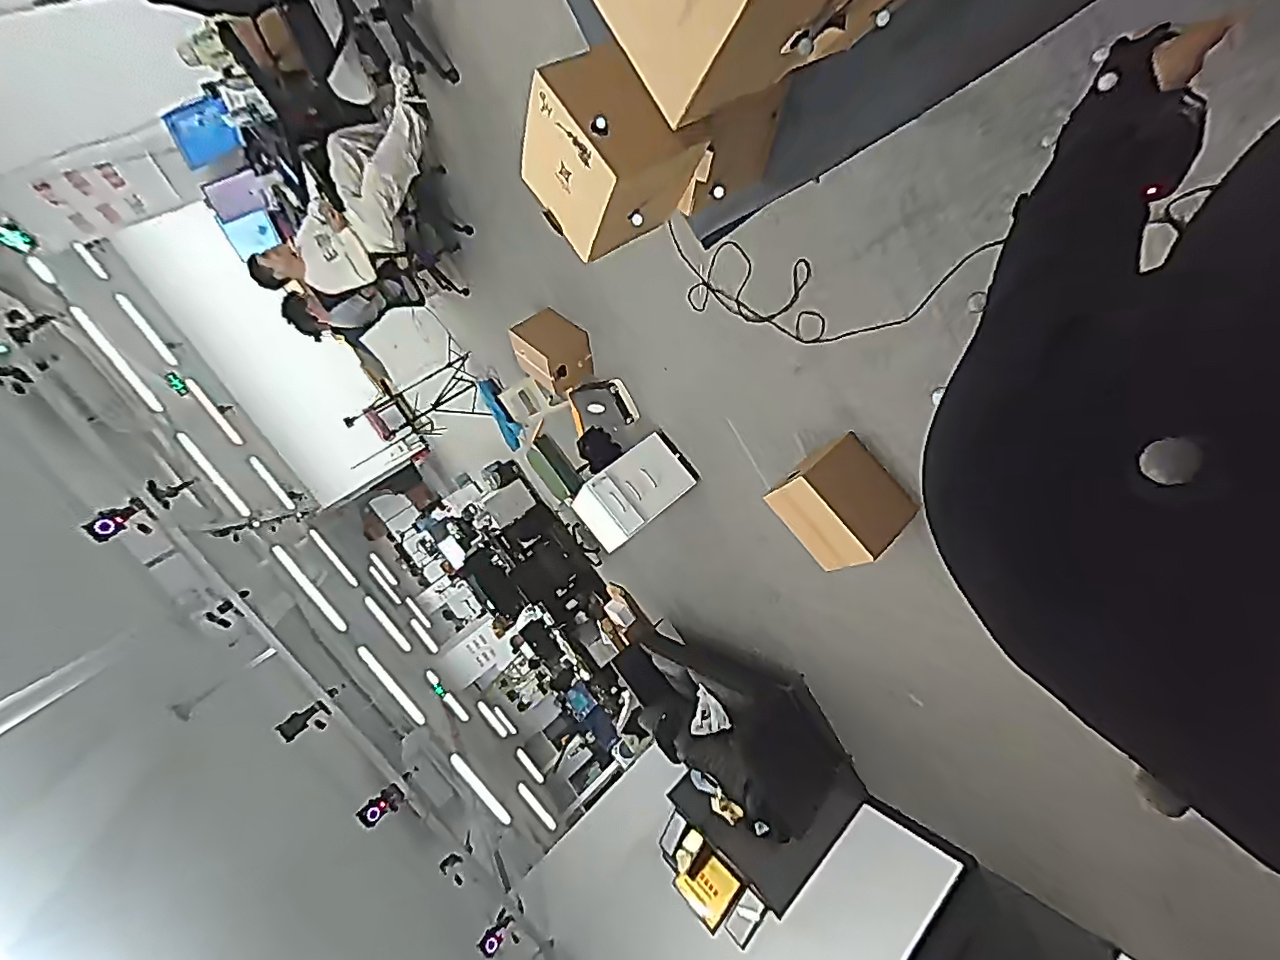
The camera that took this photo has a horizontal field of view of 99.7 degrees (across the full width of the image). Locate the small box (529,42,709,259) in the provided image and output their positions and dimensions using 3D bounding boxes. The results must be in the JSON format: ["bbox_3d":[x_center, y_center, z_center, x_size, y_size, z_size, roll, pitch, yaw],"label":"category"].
[{"bbox_3d":[-0.033,-0.452,0.751,0.168,0.176,0.179,53,159,0],"label":"small box"}]

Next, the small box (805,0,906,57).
[{"bbox_3d":[0.200,-0.568,0.550,0.179,0.176,0.168,60,158,-16],"label":"small box"}]

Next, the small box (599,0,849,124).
[{"bbox_3d":[0.082,-0.477,0.487,0.179,0.176,0.168,56,159,-6],"label":"small box"}]
